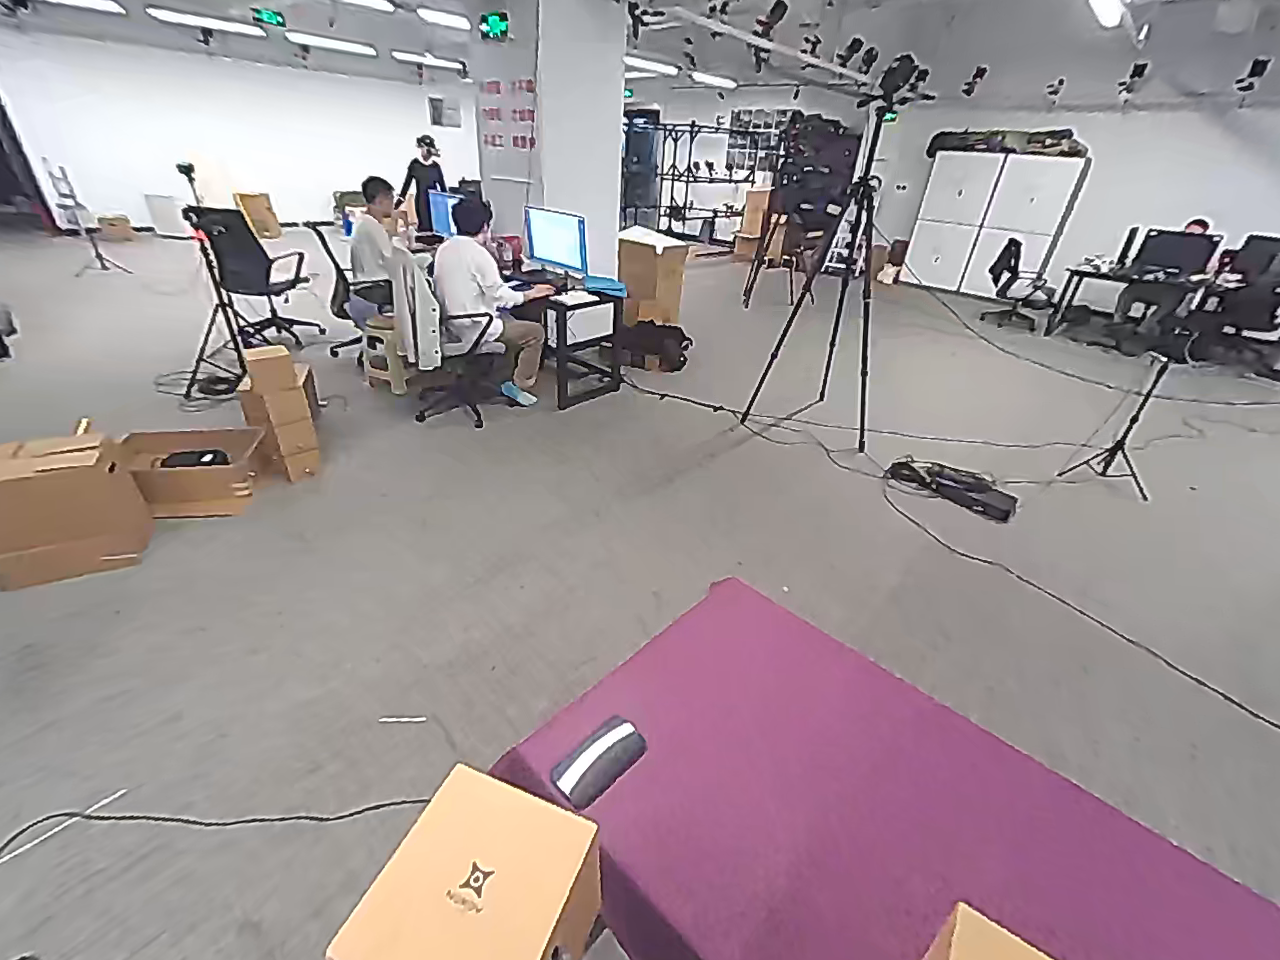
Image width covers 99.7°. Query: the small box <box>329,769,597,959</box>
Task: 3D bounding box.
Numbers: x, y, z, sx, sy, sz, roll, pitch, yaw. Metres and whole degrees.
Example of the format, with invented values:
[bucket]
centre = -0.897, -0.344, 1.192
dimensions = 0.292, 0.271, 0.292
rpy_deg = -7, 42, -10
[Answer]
[small box]
centre = -0.152, 0.432, 0.524
dimensions = 0.168, 0.176, 0.179
rpy_deg = 13, 34, 17
